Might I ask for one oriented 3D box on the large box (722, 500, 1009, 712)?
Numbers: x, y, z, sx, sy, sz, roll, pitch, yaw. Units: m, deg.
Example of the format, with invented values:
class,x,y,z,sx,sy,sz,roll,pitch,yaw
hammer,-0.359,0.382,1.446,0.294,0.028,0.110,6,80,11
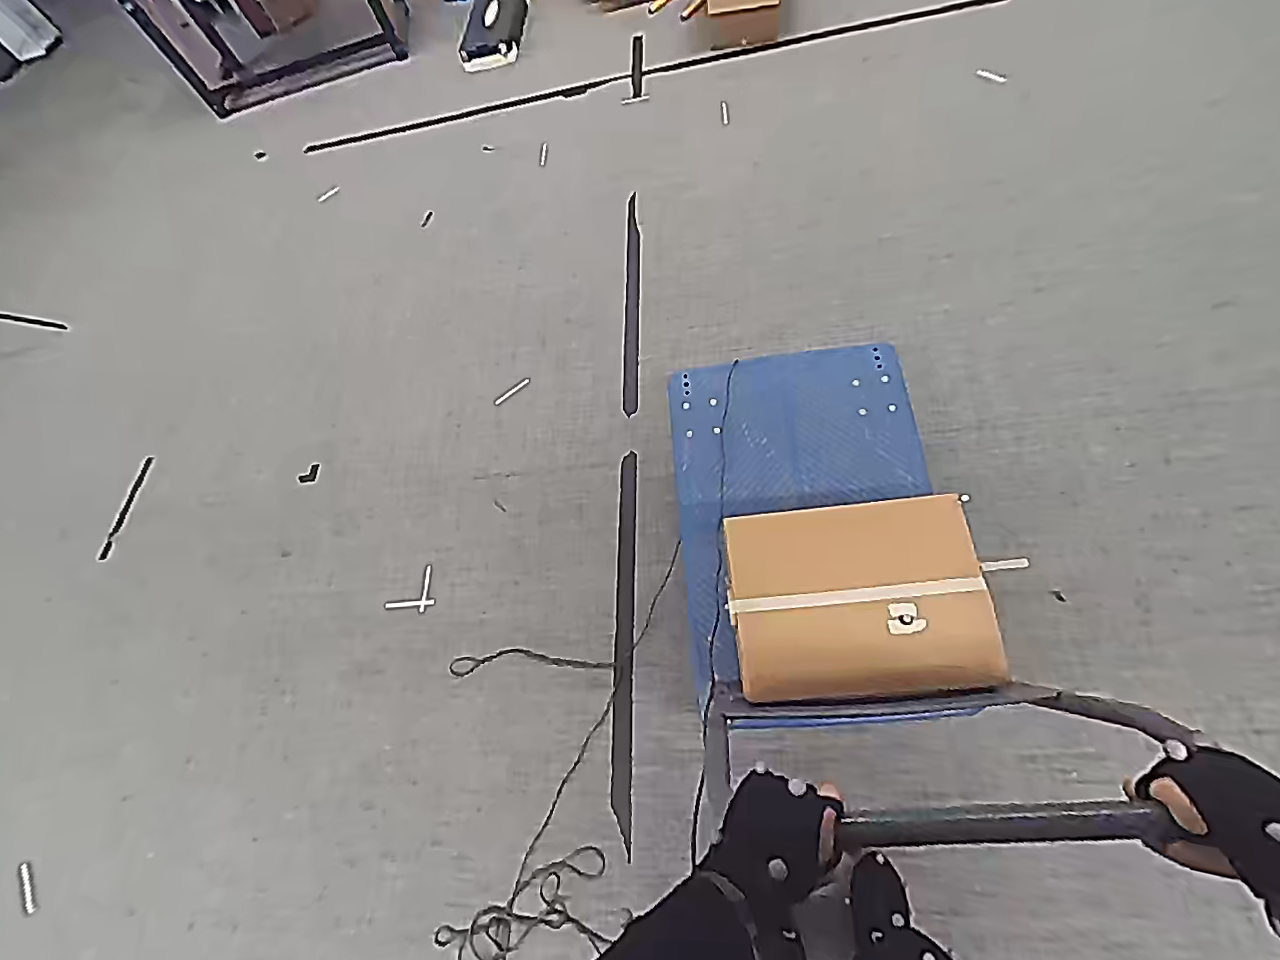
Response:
class,x,y,z,sx,sy,sz,roll,pitch,yaw
large box,0.377,0.252,1.034,0.408,0.320,0.320,-7,71,6
